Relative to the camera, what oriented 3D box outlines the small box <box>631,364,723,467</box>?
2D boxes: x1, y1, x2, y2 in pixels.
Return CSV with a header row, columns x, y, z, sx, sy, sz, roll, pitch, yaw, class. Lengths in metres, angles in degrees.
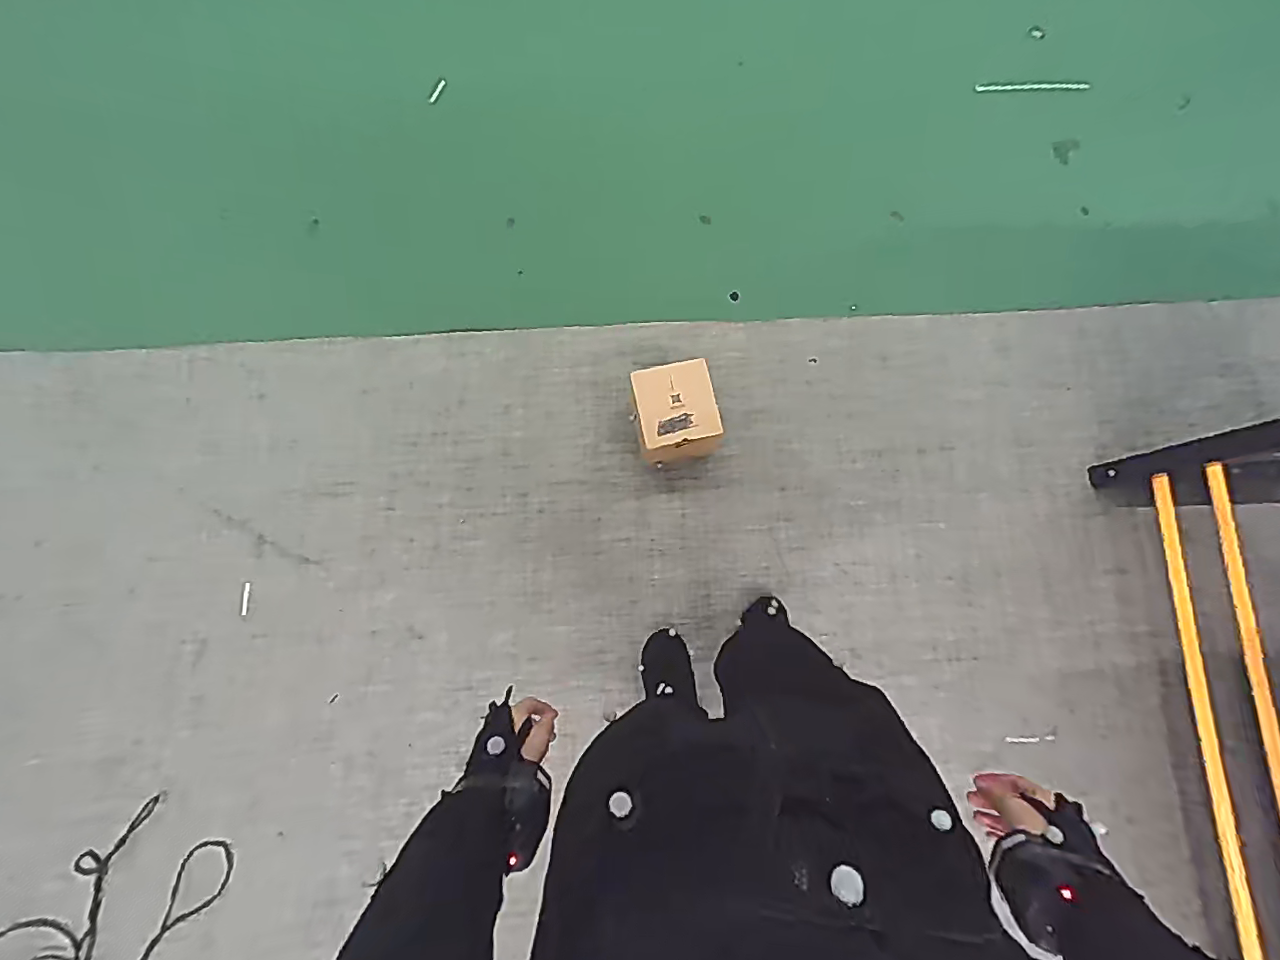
x,y,z,sx,sy,sz,roll,pitch,yaw,class
0.077,-0.134,1.208,0.168,0.176,0.179,-12,78,-3,small box
